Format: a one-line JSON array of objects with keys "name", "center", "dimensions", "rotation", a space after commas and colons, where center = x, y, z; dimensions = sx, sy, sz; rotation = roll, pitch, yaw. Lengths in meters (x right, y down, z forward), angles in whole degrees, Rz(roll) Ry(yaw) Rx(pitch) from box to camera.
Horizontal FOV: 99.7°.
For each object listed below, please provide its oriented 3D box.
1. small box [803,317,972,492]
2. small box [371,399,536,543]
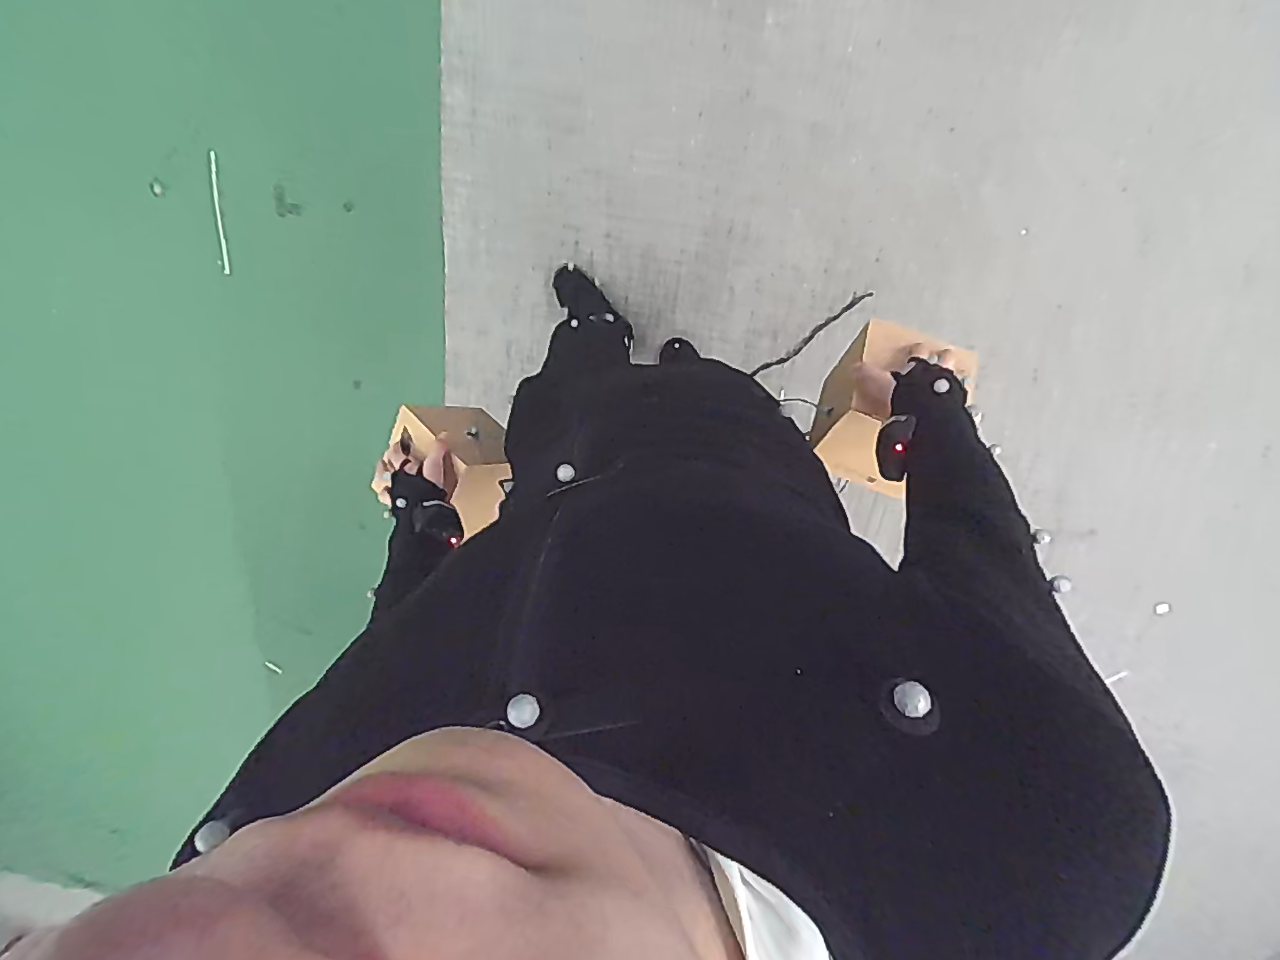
[{"name": "small box", "center": [0.368, -0.106, 0.828], "dimensions": [0.168, 0.179, 0.176], "rotation": [22, 154, 2]}, {"name": "small box", "center": [-0.314, -0.018, 0.921], "dimensions": [0.179, 0.176, 0.168], "rotation": [39, 112, 22]}]
